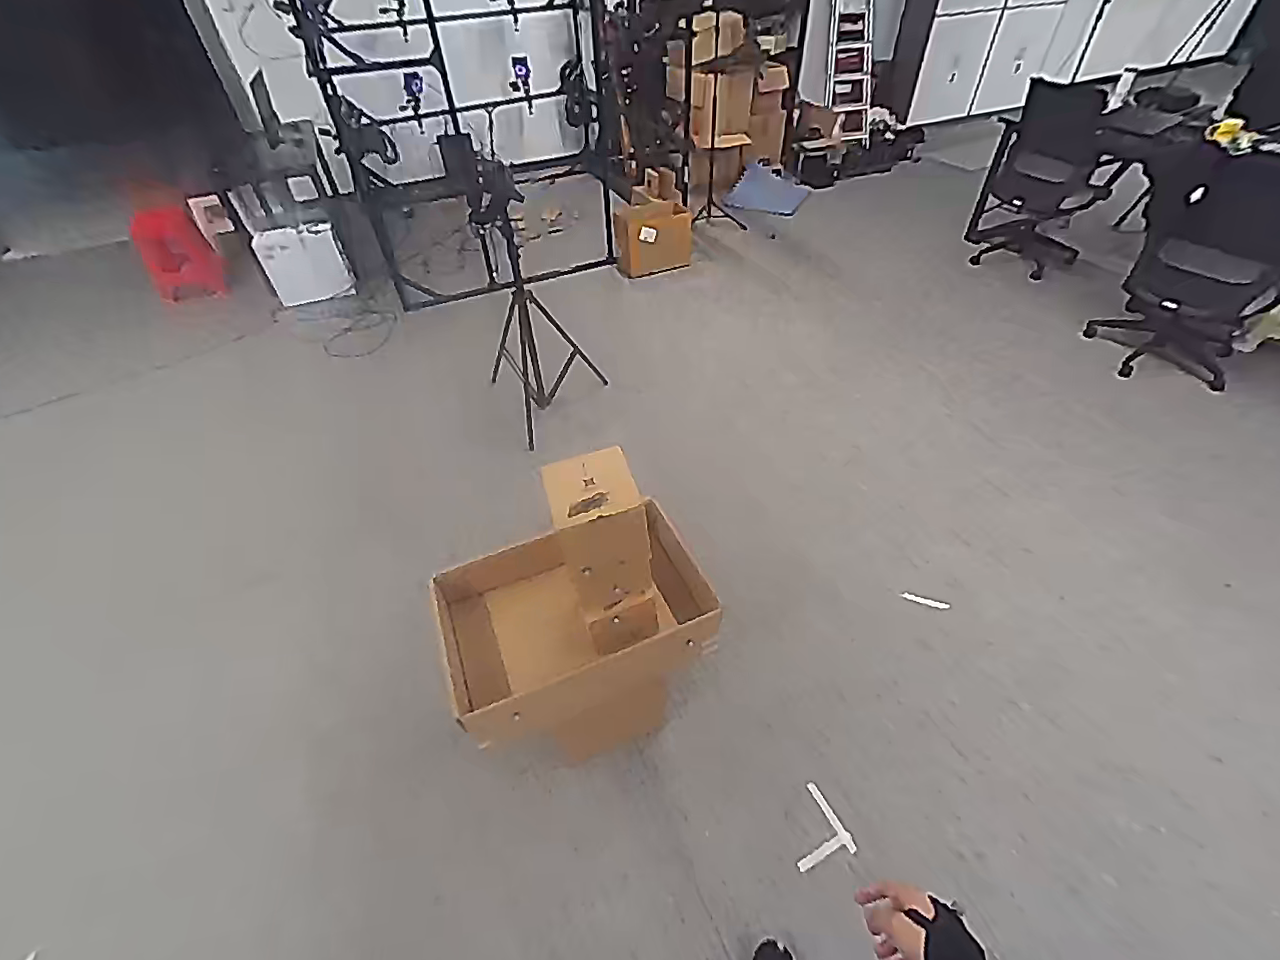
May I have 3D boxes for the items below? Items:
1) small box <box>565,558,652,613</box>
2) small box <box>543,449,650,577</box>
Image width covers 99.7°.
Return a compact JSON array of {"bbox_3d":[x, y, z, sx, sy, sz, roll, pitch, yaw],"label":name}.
[{"bbox_3d":[-0.083,0.164,1.213,0.168,0.176,0.179,-20,48,-11],"label":"small box"},{"bbox_3d":[-0.083,0.072,1.072,0.168,0.176,0.179,-16,46,-8],"label":"small box"}]
